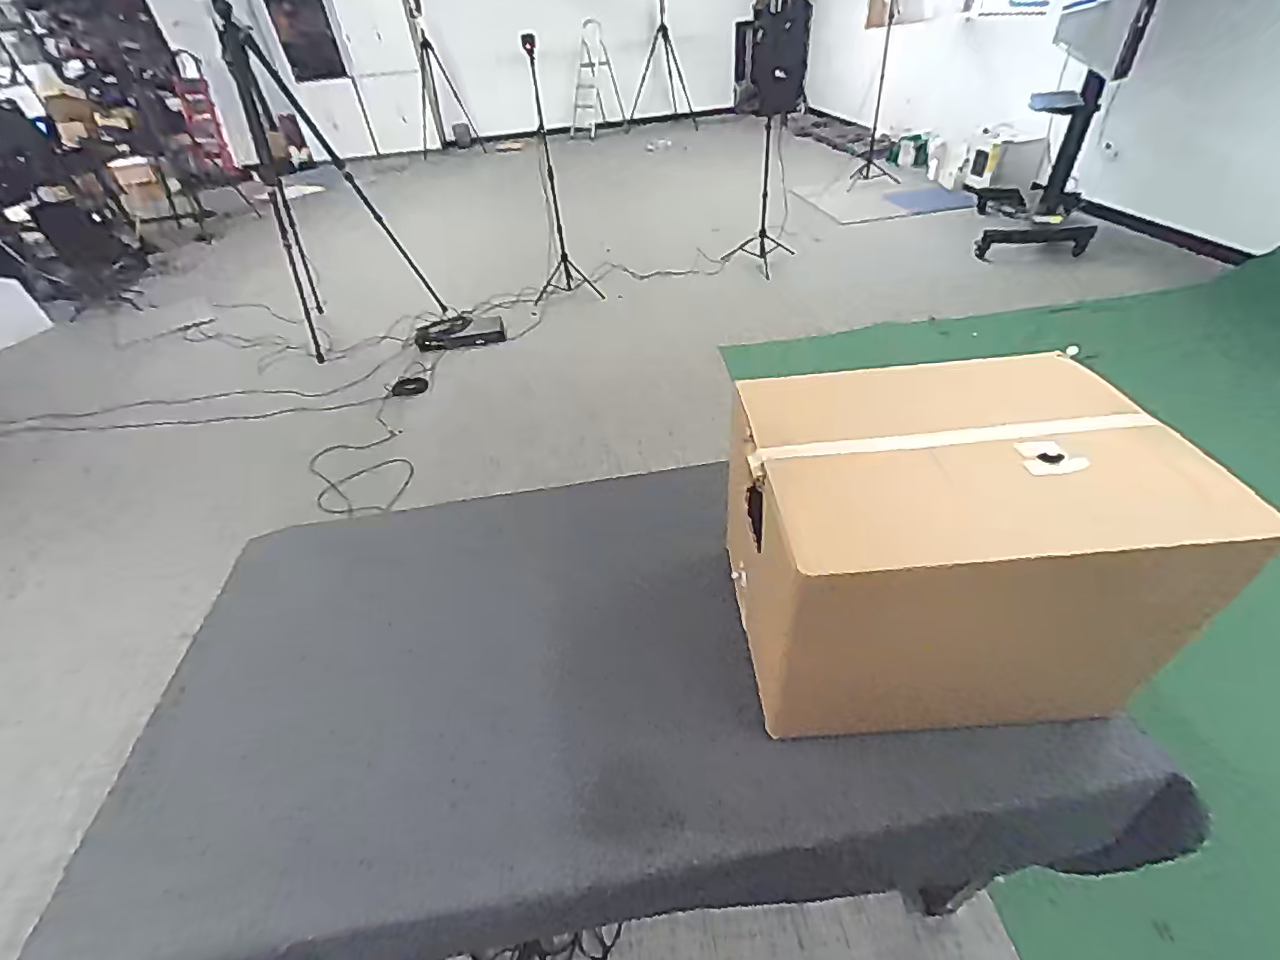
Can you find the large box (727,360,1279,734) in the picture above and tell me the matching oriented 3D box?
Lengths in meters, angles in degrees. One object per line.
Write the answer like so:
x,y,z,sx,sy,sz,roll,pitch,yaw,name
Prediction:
0.335,0.076,0.655,0.408,0.320,0.320,-4,41,1,large box
